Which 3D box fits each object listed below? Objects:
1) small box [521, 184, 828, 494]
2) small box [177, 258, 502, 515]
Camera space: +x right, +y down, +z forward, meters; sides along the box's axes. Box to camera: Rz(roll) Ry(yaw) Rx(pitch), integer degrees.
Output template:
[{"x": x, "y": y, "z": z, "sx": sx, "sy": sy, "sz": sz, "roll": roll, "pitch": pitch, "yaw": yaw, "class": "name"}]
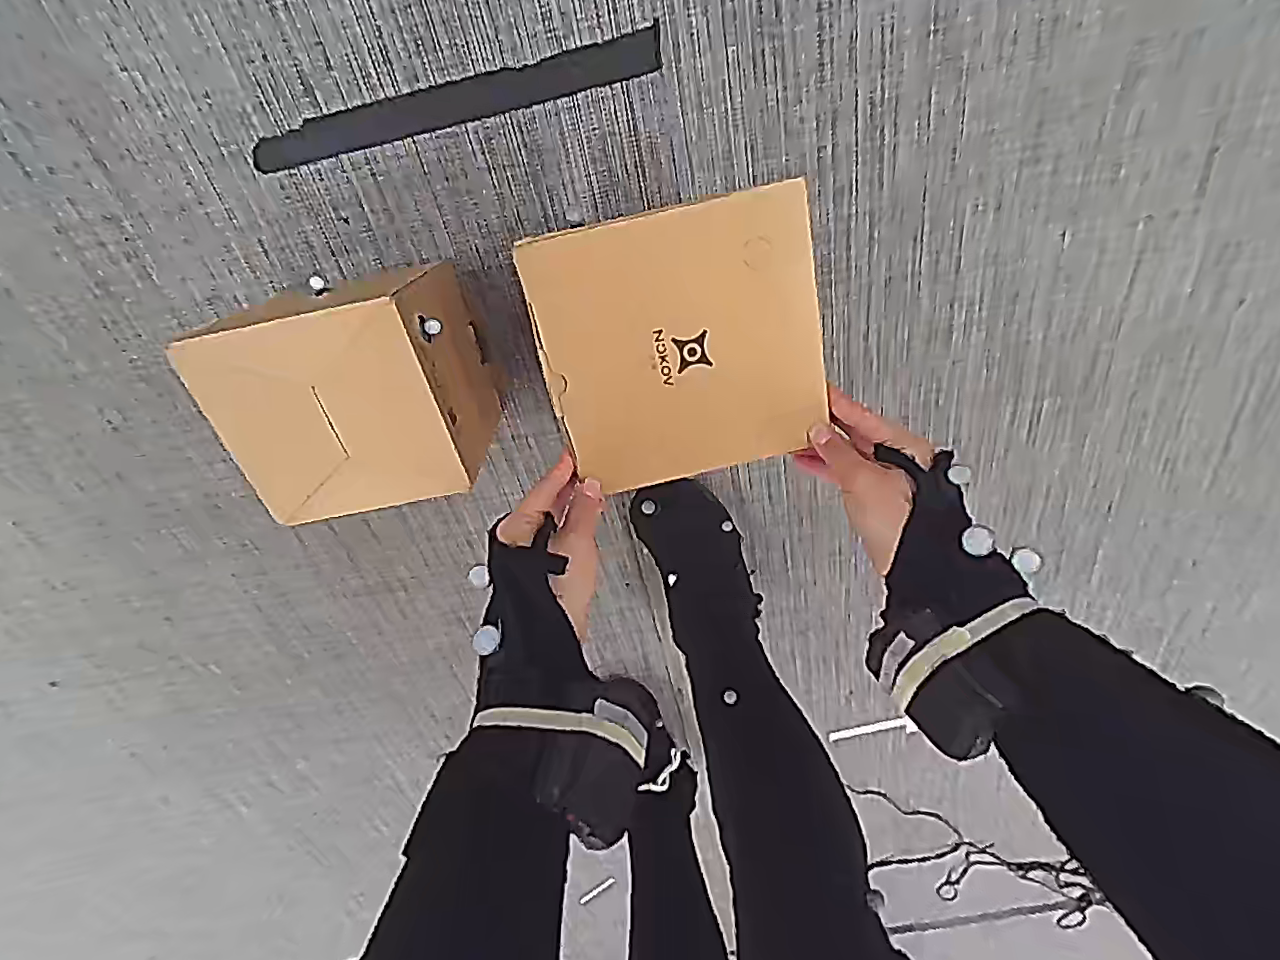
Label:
[{"x": 0.023, "y": -0.112, "z": 0.417, "sx": 0.179, "sy": 0.176, "sz": 0.168, "roll": -13, "pitch": 112, "yaw": 1, "class": "small box"}, {"x": -0.245, "y": -0.087, "z": 0.493, "sx": 0.179, "sy": 0.176, "sz": 0.168, "roll": -11, "pitch": 120, "yaw": 1, "class": "small box"}]
